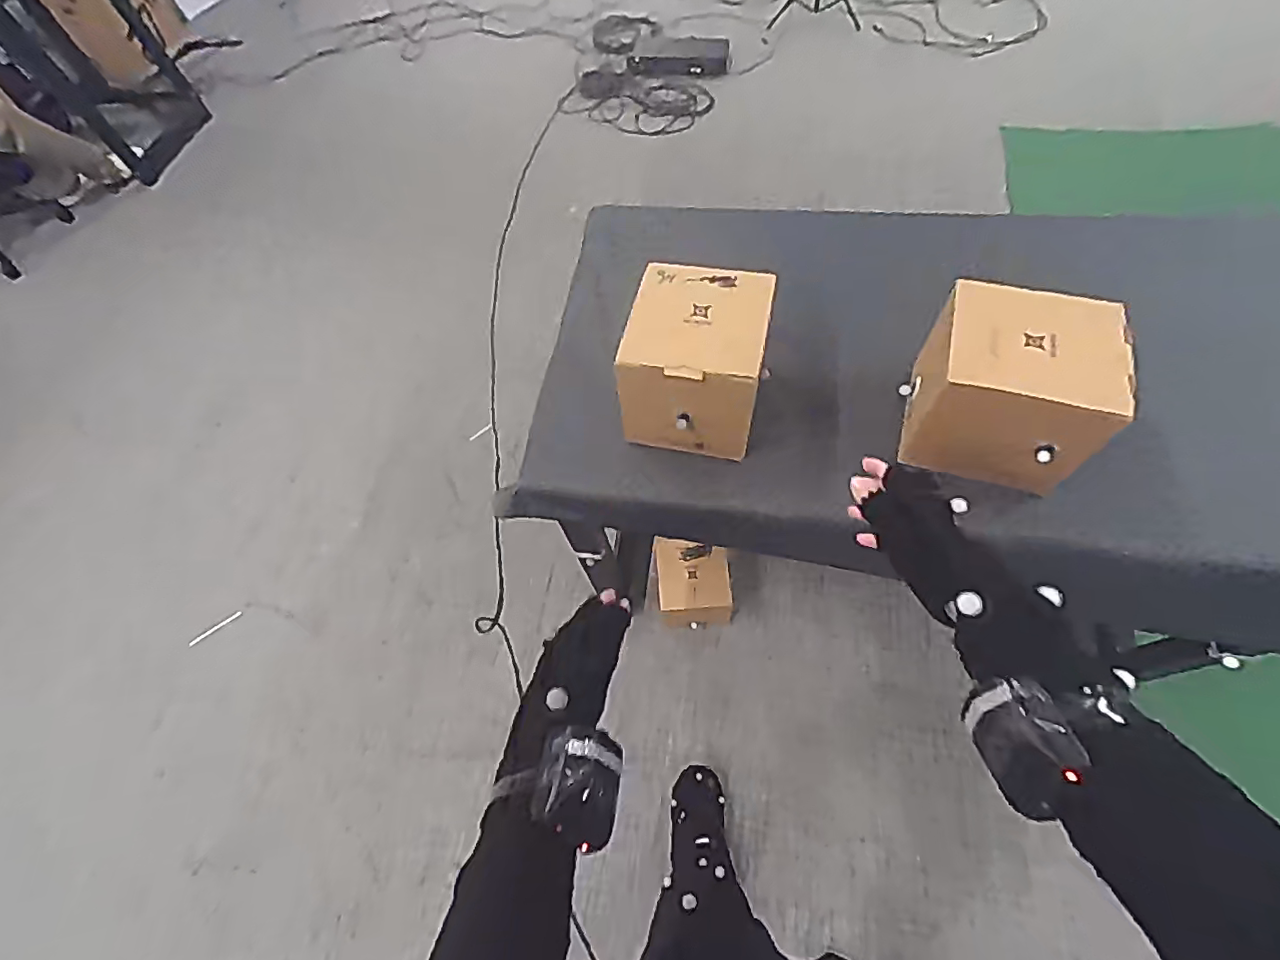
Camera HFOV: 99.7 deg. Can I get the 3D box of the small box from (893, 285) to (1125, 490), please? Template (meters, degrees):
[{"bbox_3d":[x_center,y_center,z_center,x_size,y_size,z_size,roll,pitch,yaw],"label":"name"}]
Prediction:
[{"bbox_3d":[0.437,-0.107,0.665,0.179,0.176,0.168,14,62,13],"label":"small box"}]

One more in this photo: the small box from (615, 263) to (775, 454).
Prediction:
[{"bbox_3d":[0.076,-0.155,0.718,0.168,0.176,0.179,11,62,10],"label":"small box"}]
